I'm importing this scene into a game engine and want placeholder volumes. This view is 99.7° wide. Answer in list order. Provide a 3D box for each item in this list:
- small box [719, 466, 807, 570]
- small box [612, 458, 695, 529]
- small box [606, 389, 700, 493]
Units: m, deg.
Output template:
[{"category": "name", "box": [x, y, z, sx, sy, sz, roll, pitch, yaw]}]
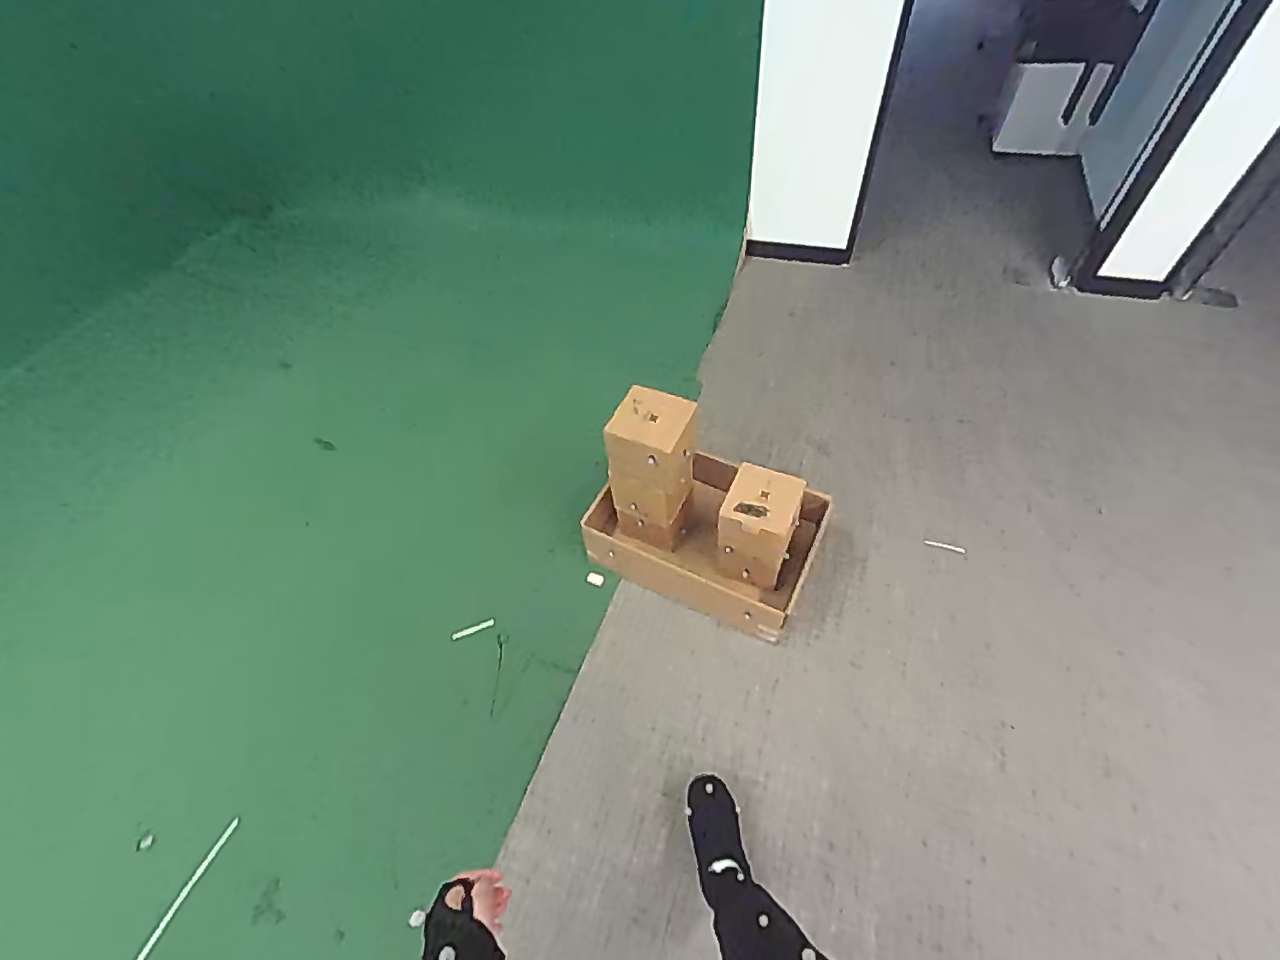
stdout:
[{"category": "small box", "box": [0.309, 0.100, 1.365, 0.168, 0.176, 0.179, 19, 56, 20]}, {"category": "small box", "box": [0.040, 0.000, 1.474, 0.168, 0.176, 0.179, 21, 59, 19]}, {"category": "small box", "box": [0.038, -0.090, 1.335, 0.179, 0.176, 0.168, 20, 58, 19]}]
